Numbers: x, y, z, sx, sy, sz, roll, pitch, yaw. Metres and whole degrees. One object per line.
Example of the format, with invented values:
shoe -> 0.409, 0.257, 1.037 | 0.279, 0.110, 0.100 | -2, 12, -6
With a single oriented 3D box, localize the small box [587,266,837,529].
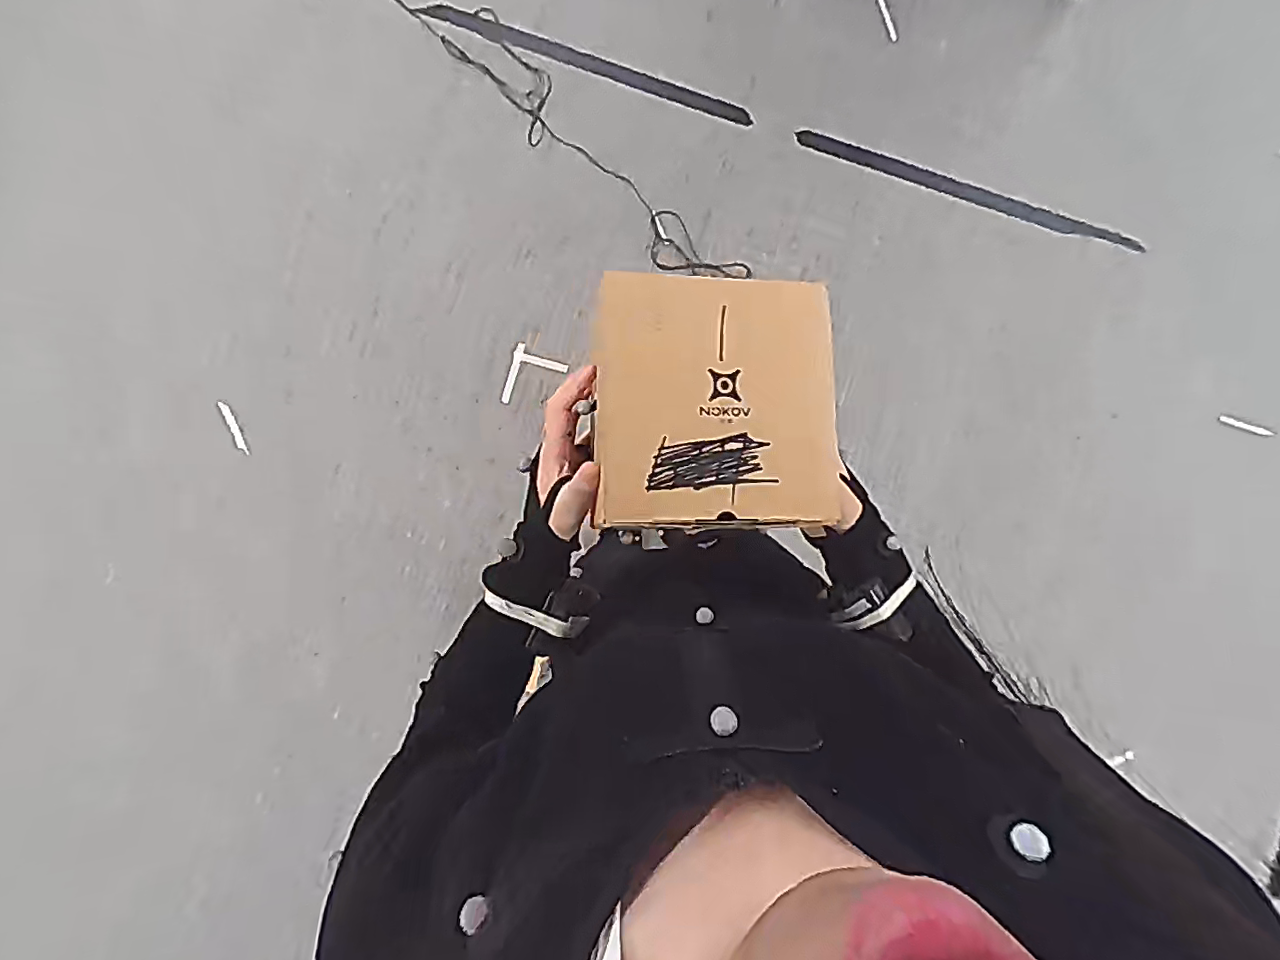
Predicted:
small box -> 0.045, -0.048, 0.449 | 0.168, 0.176, 0.179 | 2, 83, -9
